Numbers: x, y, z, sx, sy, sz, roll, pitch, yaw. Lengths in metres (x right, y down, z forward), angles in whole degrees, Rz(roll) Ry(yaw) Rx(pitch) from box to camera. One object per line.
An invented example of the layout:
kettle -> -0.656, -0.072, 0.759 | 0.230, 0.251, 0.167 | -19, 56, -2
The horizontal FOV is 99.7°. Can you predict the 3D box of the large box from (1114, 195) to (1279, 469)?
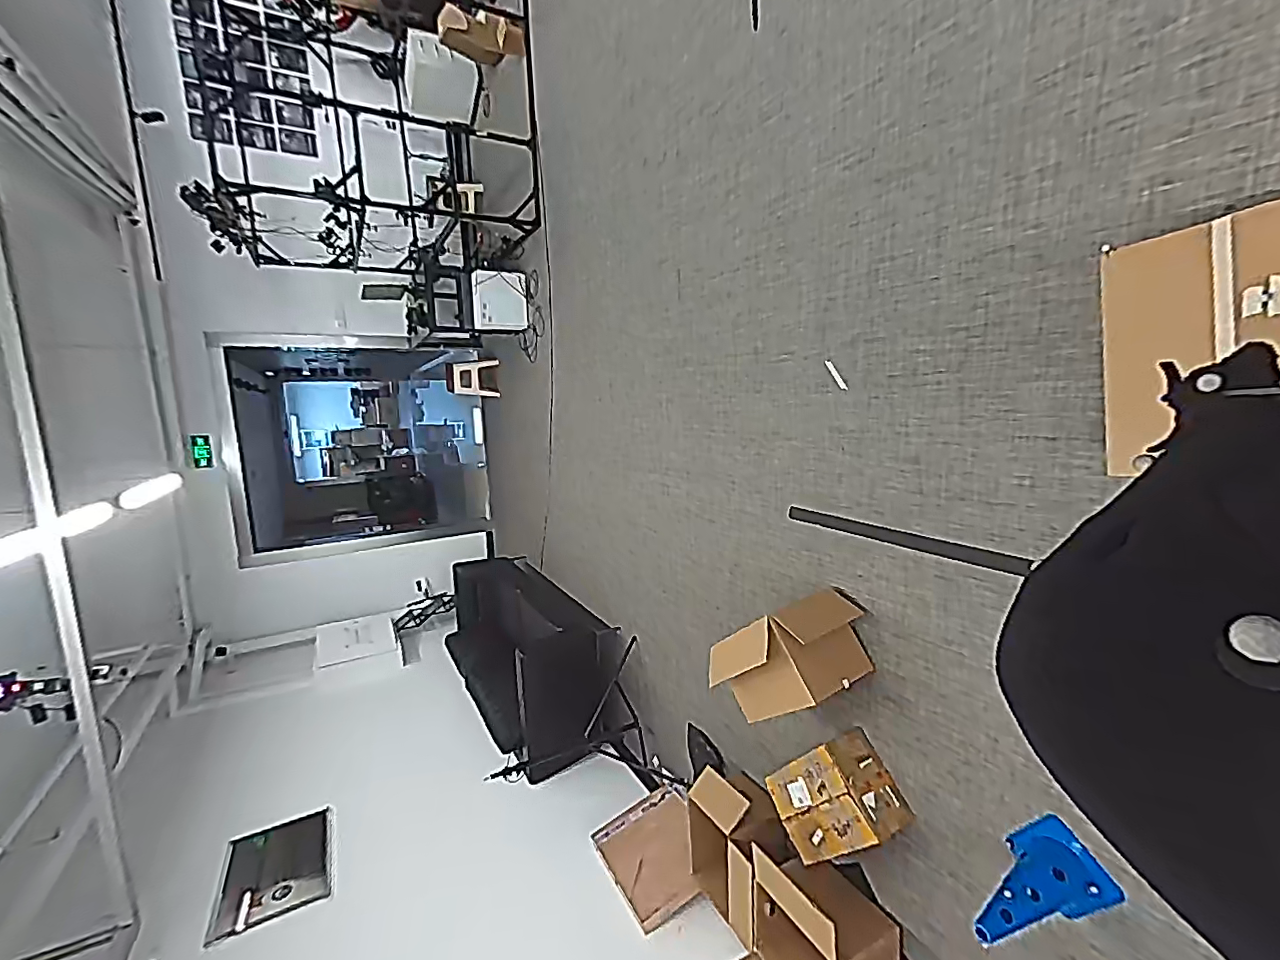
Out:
large box -> 1.059, -0.229, 0.899 | 0.320, 0.320, 0.408 | 2, 96, 62
